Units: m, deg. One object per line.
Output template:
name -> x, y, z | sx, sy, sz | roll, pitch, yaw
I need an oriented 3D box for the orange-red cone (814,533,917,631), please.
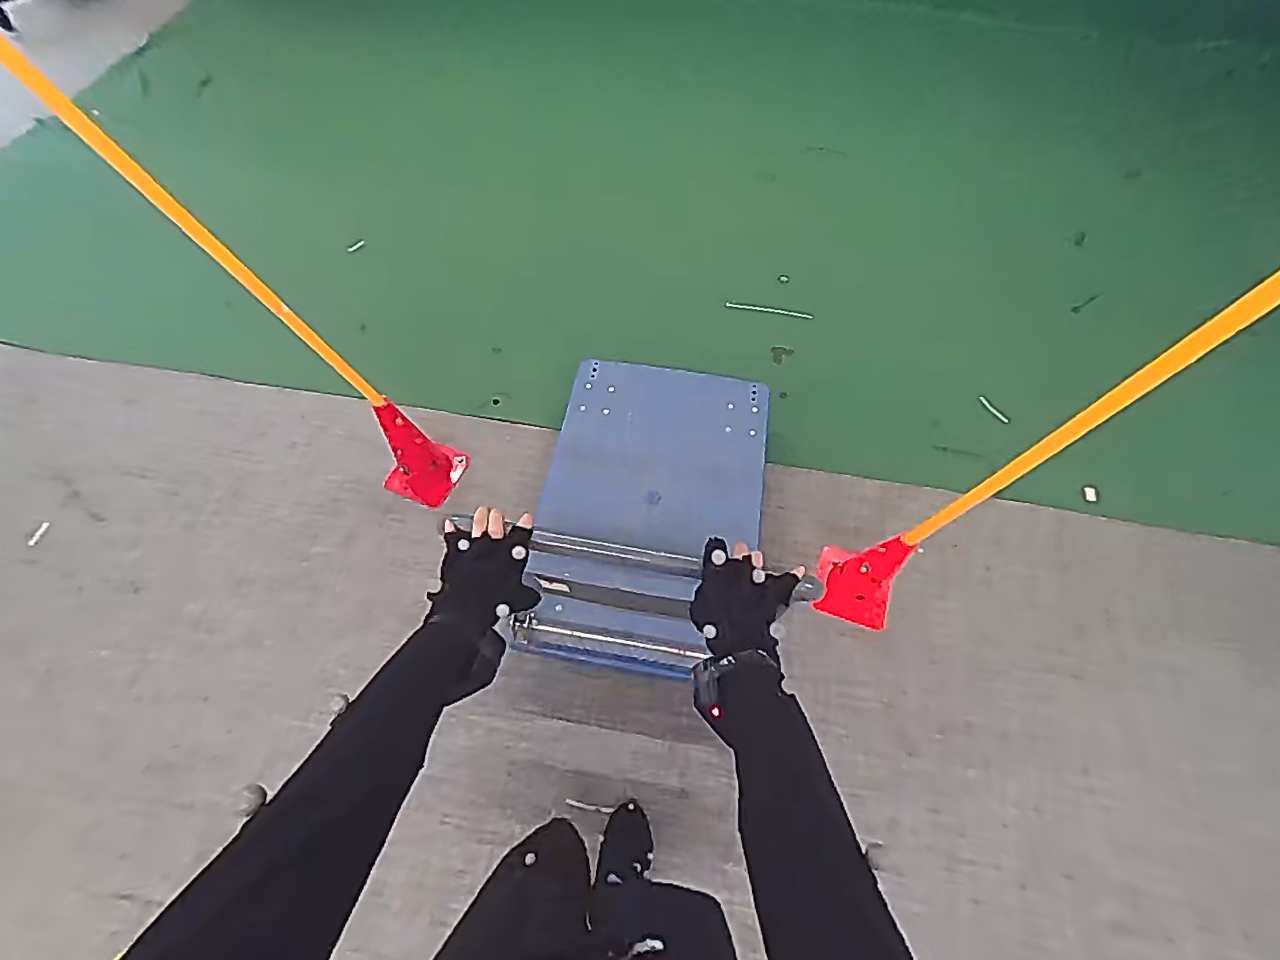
orange-red cone -> 0.595, 0.219, 1.347 | 0.198, 0.360, 0.199 | 19, 64, 10
